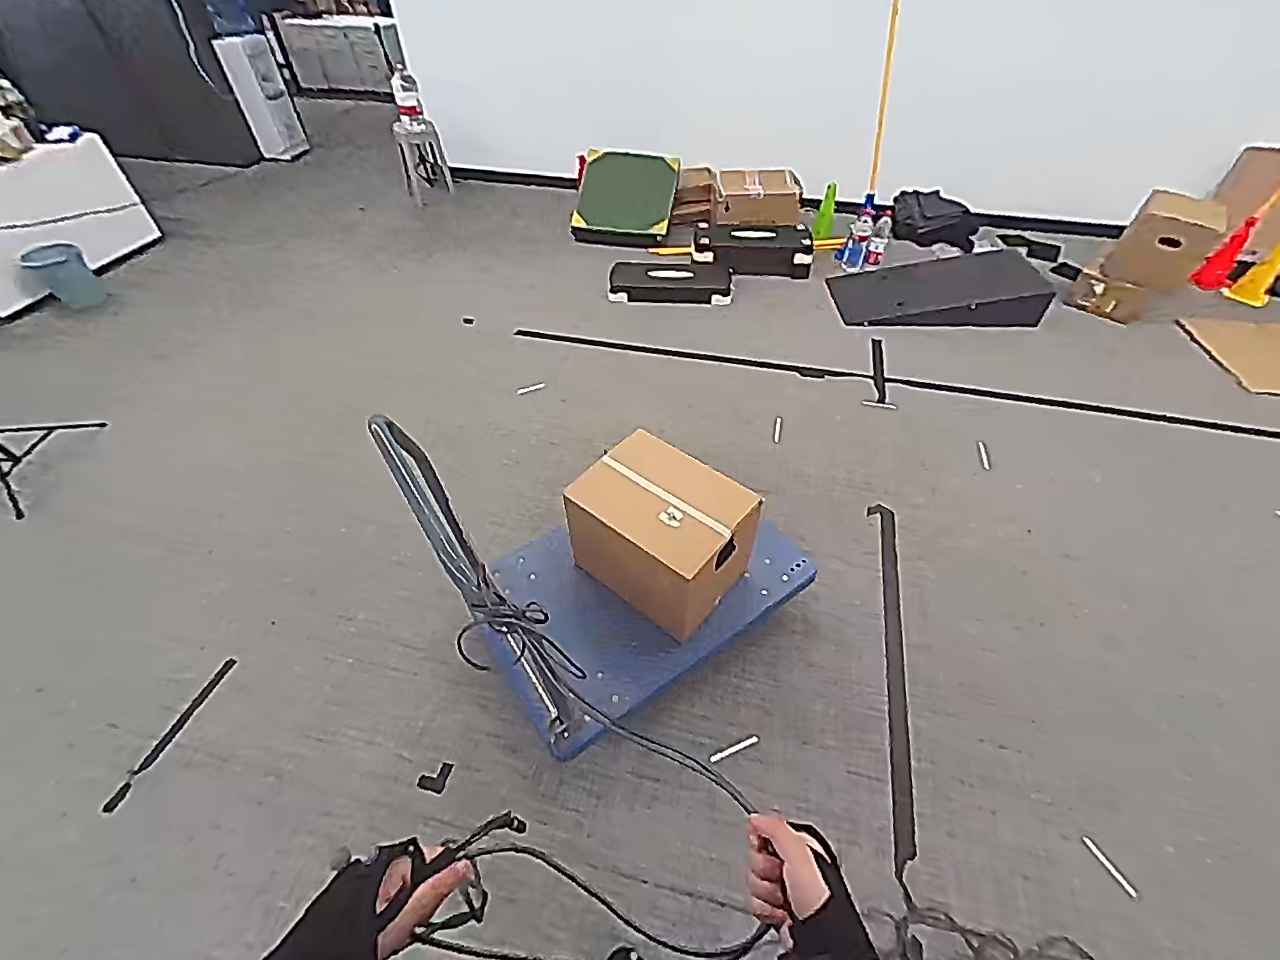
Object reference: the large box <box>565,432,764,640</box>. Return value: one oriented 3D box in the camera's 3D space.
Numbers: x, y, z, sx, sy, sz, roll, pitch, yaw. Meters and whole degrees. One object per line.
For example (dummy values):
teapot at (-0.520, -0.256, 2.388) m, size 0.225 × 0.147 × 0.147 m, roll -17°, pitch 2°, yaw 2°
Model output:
large box at (0.058, 0.143, 1.446) m, size 0.408 × 0.320 × 0.320 m, roll 32°, pitch 56°, yaw 25°
